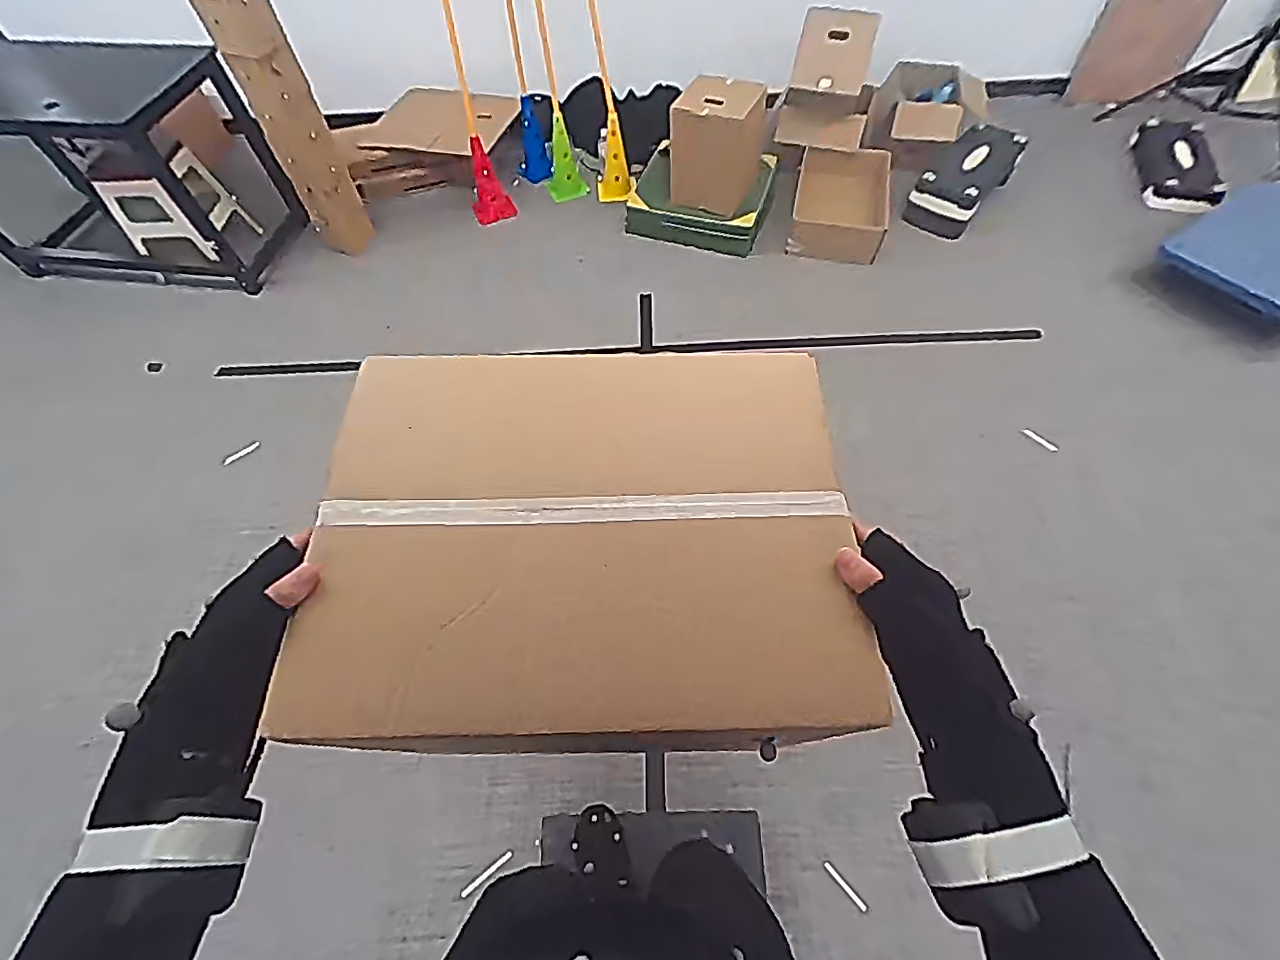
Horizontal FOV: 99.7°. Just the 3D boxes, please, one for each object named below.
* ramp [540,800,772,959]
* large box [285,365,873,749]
[{"bbox_3d":[0.039,1.202,1.059,0.509,0.206,0.991,-3,59,-1],"label":"ramp"},{"bbox_3d":[-0.042,0.101,0.561,0.408,0.320,0.320,-1,61,-1],"label":"large box"}]
